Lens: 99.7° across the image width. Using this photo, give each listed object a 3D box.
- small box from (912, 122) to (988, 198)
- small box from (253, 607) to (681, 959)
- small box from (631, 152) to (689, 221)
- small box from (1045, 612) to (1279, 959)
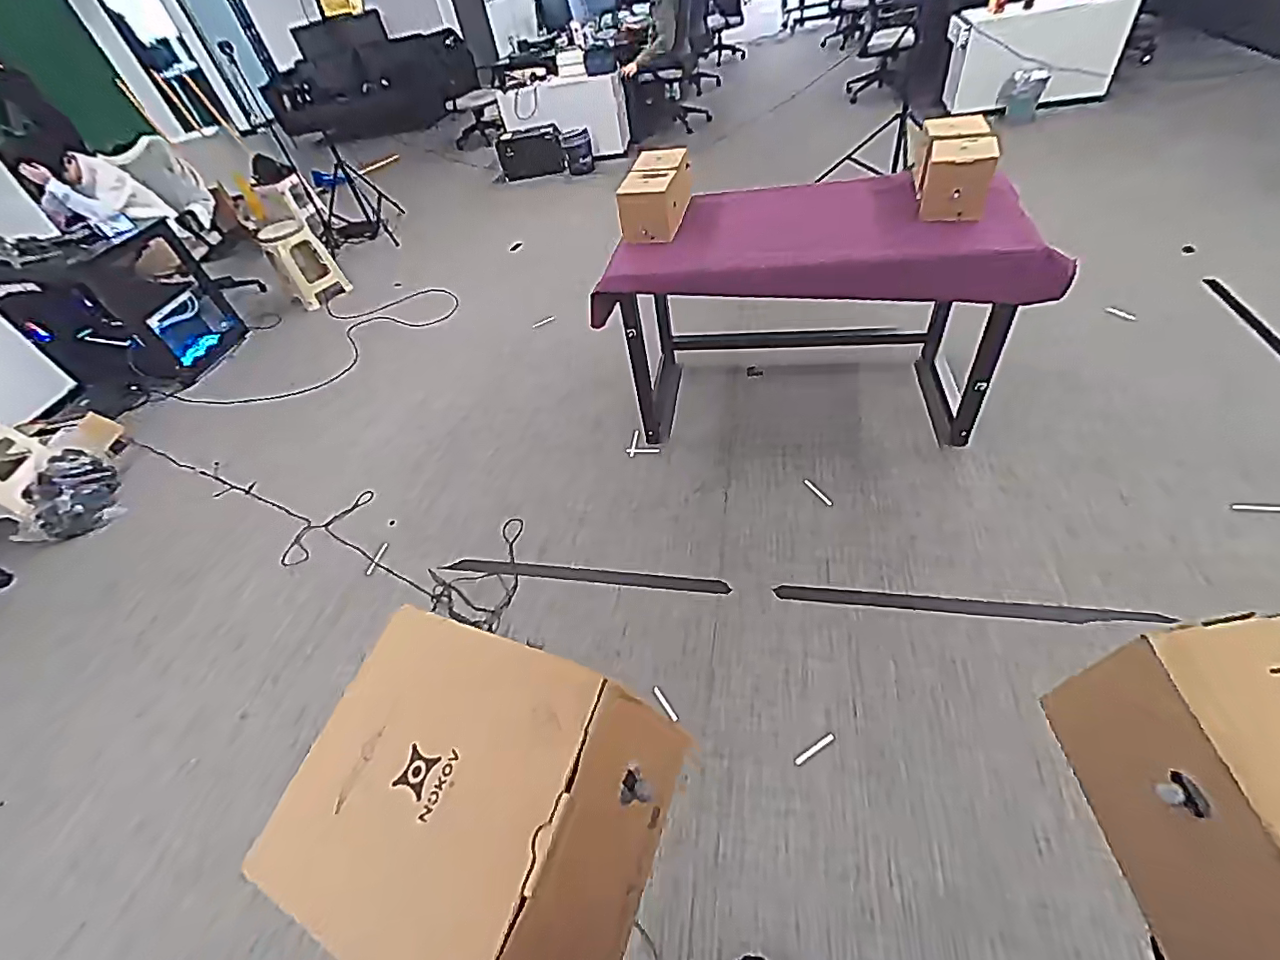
[{"bbox_3d":[0.970,-1.009,1.708,0.168,0.176,0.179,5,48,15],"label":"small box"},{"bbox_3d":[-0.090,0.210,0.363,0.179,0.176,0.168,7,58,28],"label":"small box"},{"bbox_3d":[0.077,-1.041,1.920,0.168,0.176,0.179,5,49,16],"label":"small box"},{"bbox_3d":[0.381,0.184,0.307,0.168,0.176,0.179,-12,55,8],"label":"small box"}]
